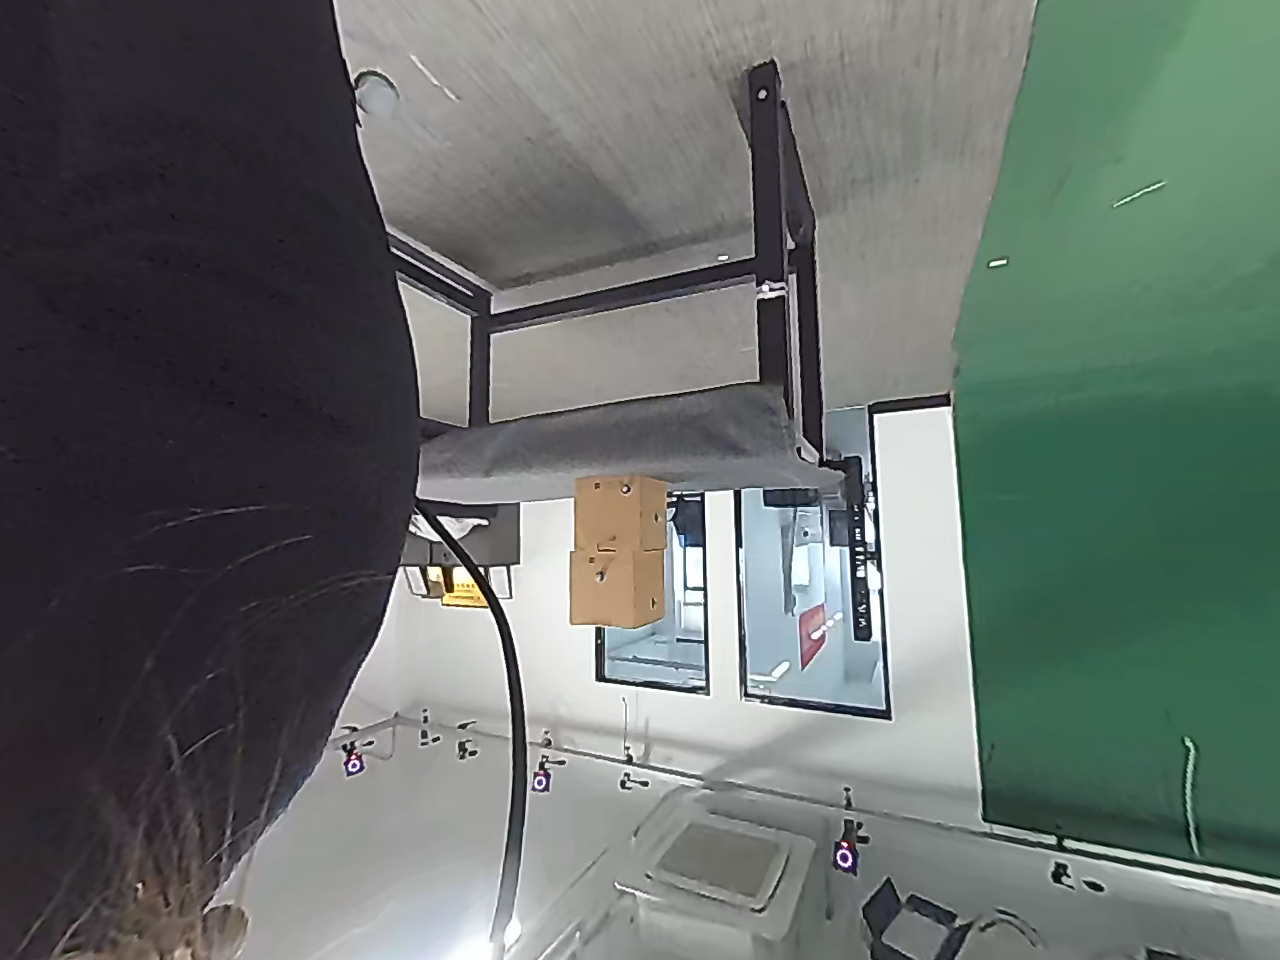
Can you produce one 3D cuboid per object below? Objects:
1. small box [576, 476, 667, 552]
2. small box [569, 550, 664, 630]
[{"bbox_3d":[-0.043,0.080,1.265,0.168,0.176,0.179,-3,175,22],"label":"small box"},{"bbox_3d":[-0.051,0.245,1.264,0.168,0.176,0.179,-4,174,25],"label":"small box"}]
